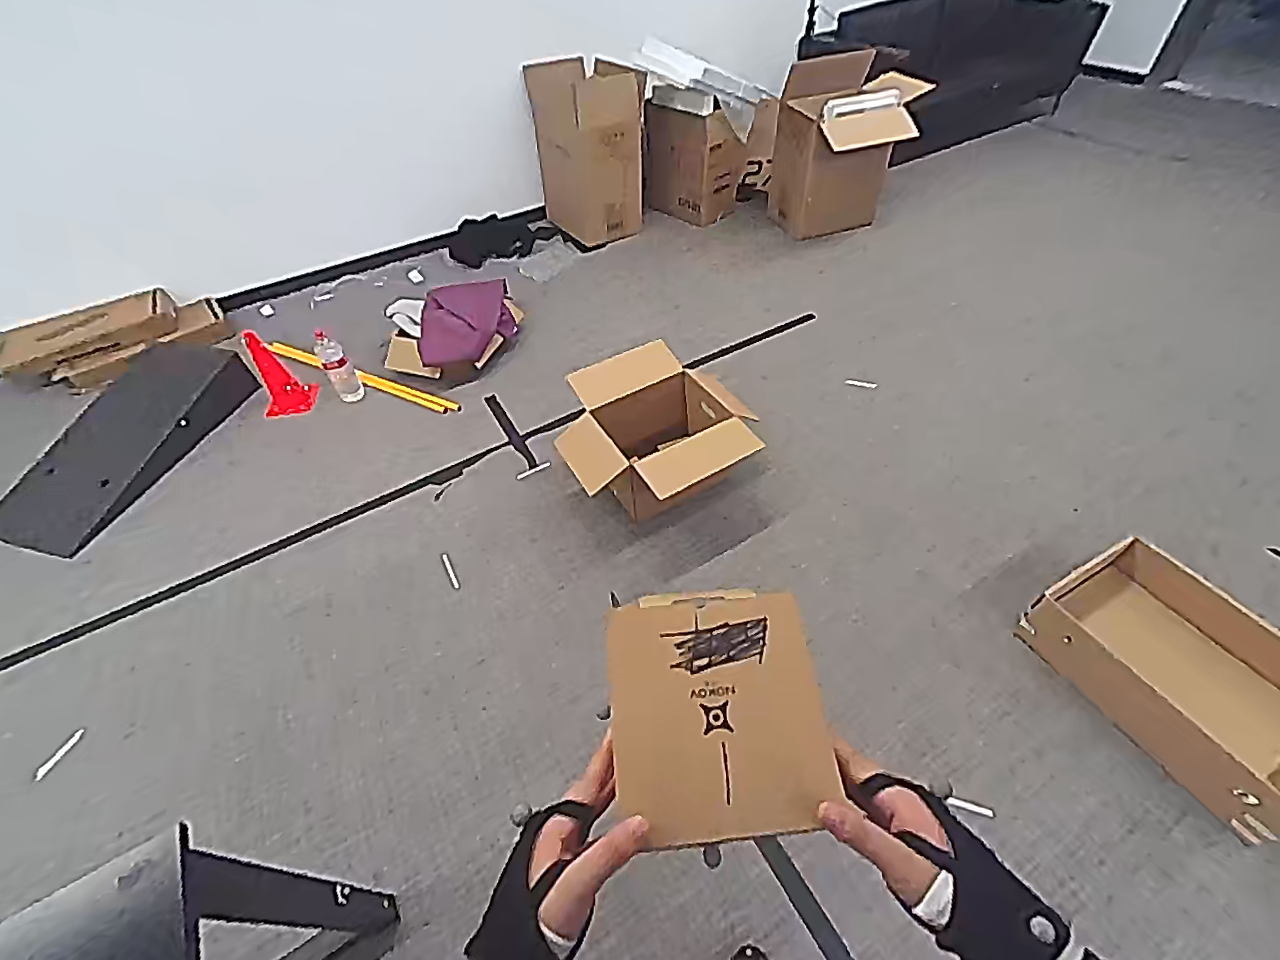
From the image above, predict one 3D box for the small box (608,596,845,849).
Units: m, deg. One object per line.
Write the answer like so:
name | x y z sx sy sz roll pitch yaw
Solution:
small box | 0.057 0.224 0.494 0.168 0.176 0.179 -5 56 -4
